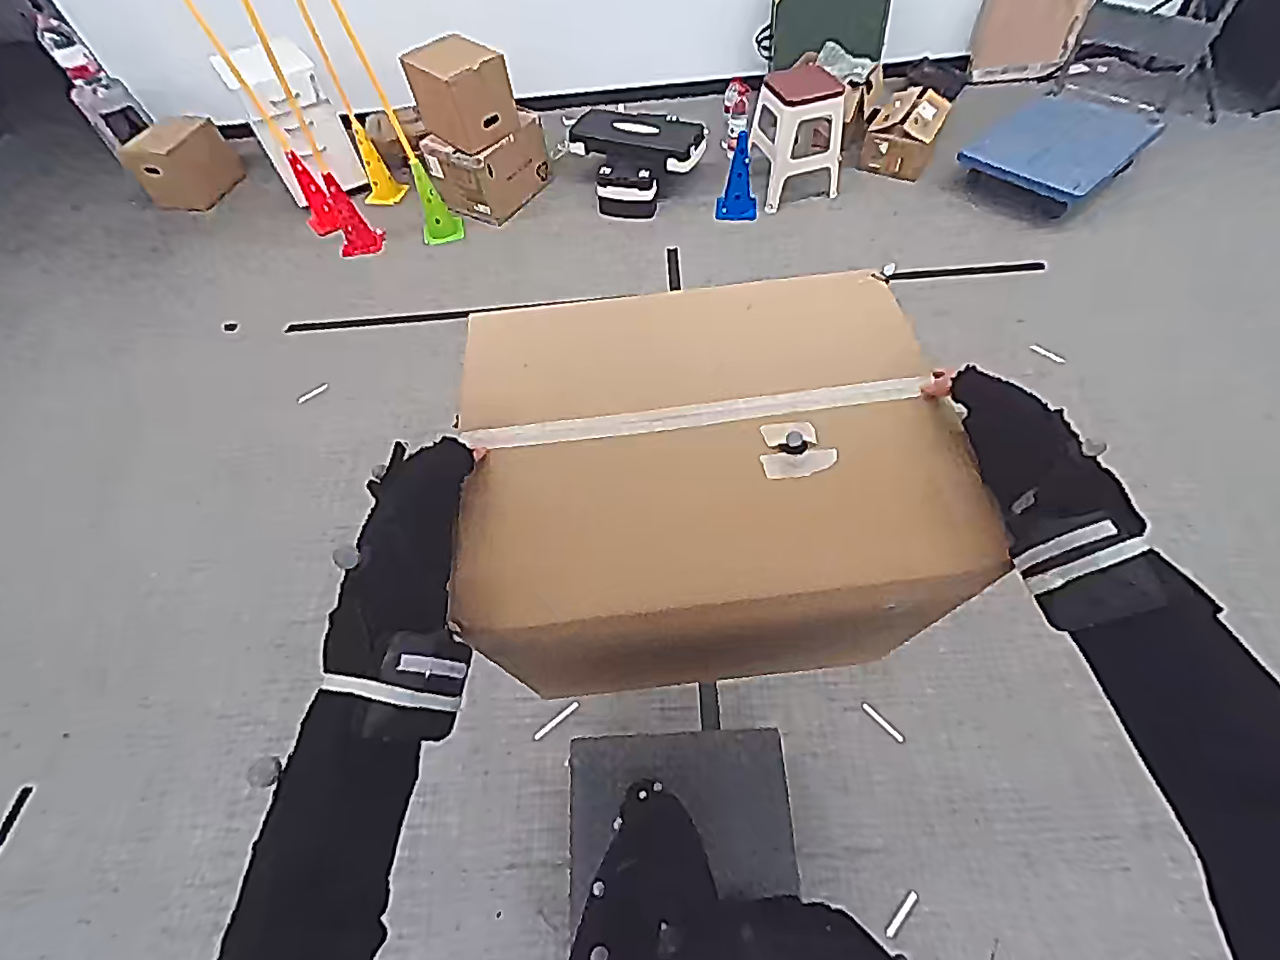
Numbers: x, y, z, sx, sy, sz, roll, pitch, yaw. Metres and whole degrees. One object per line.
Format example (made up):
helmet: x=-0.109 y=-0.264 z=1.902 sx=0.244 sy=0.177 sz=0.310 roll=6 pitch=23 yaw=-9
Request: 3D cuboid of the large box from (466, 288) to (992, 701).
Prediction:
large box: x=0.056 y=0.034 z=0.600 sx=0.408 sy=0.320 sz=0.320 roll=-7 pitch=60 yaw=-1
